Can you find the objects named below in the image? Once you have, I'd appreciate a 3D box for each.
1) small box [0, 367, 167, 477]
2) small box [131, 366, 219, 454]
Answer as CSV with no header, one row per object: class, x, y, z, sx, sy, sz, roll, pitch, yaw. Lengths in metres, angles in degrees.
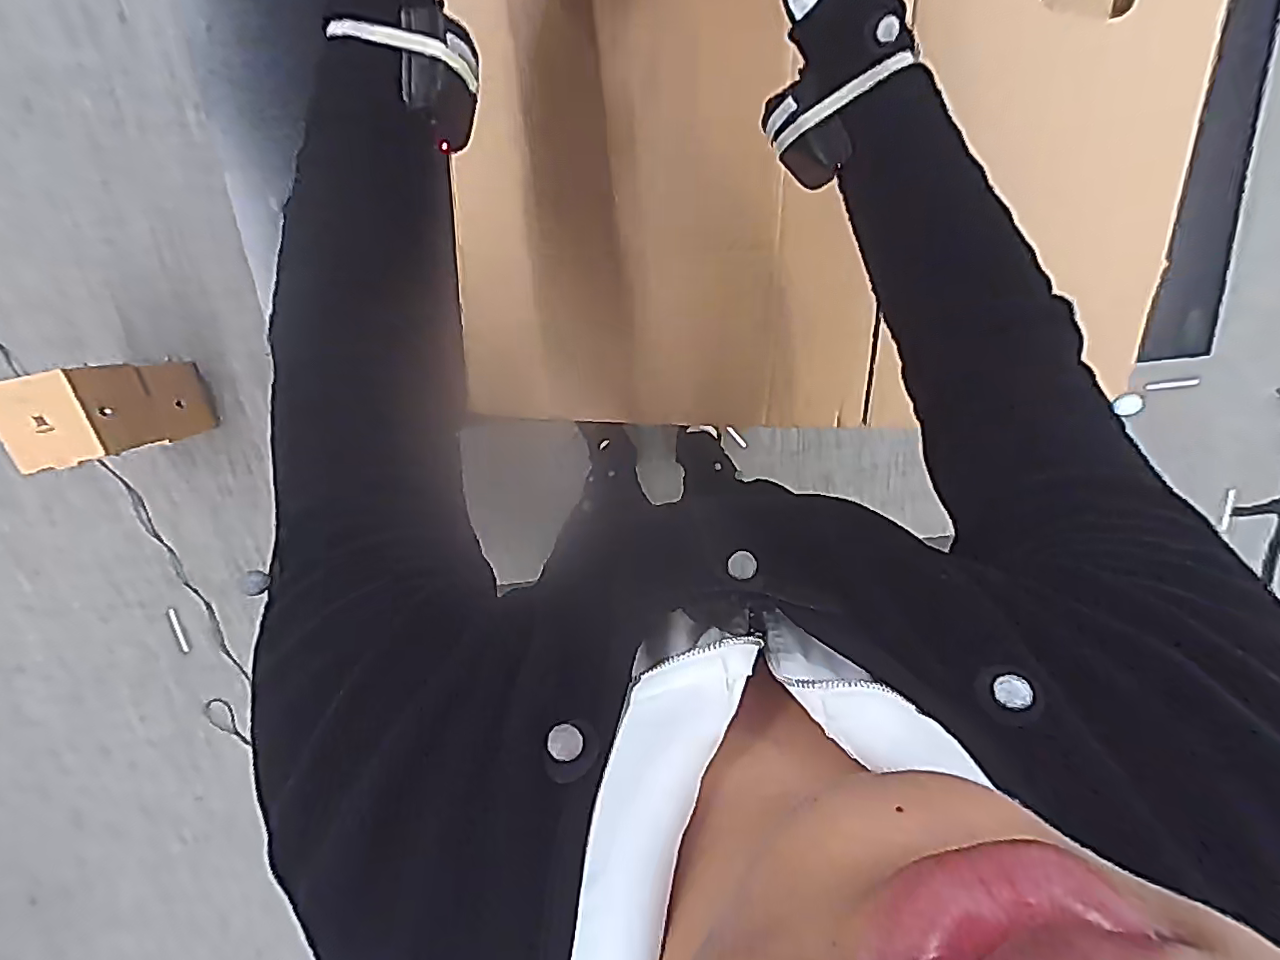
small box,-1.130,-0.124,1.099,0.168,0.176,0.179,-13,106,-2
small box,-1.141,-0.165,1.256,0.168,0.176,0.179,-10,108,-2
